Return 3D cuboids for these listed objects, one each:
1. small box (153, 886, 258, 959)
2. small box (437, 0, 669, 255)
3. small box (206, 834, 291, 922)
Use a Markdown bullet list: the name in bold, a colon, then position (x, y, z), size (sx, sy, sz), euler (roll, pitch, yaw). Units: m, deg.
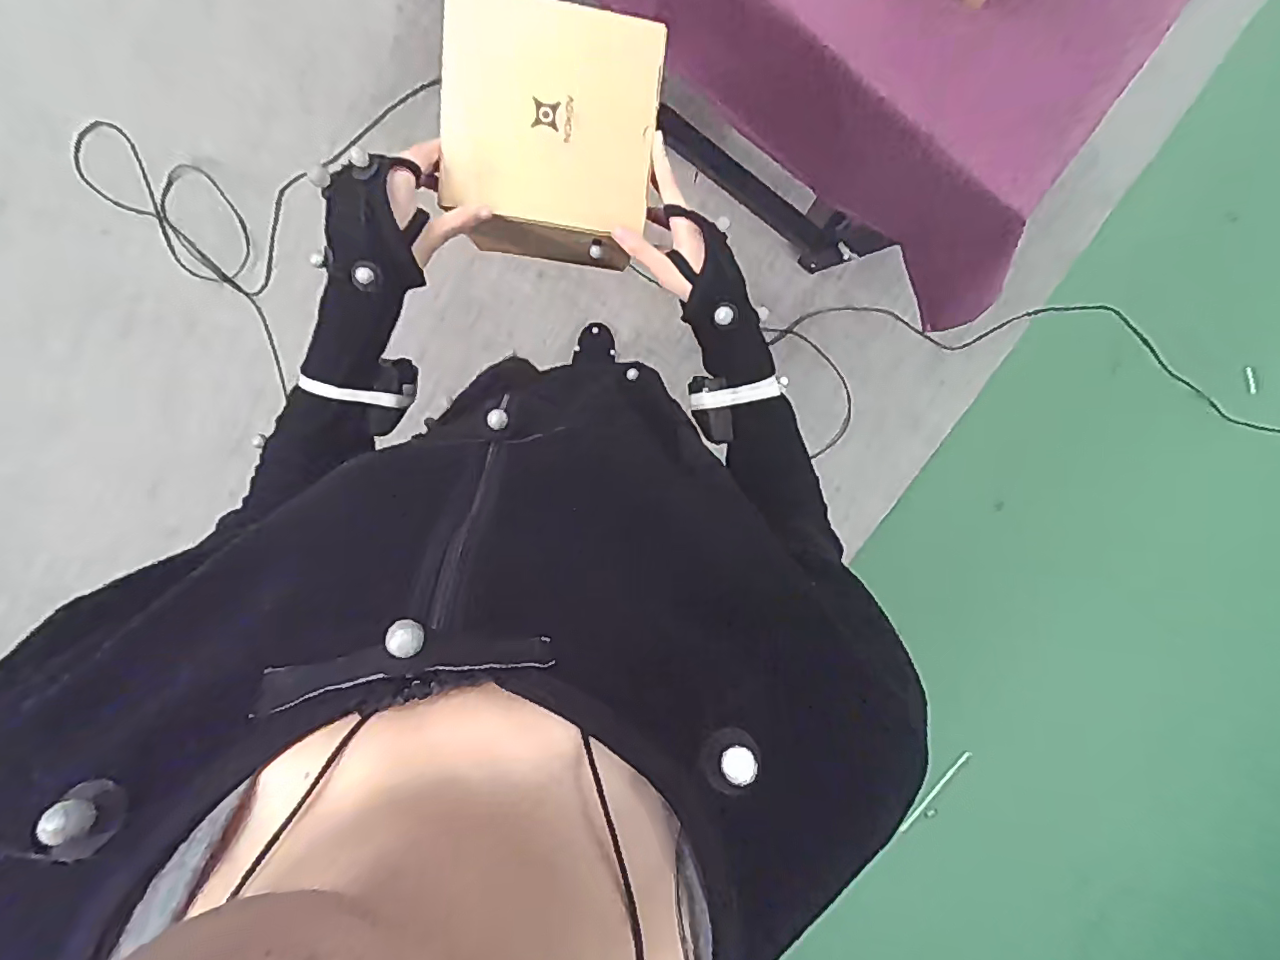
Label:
- **small box**: position (-1.156, 1.228, 1.422), size (0.168, 0.176, 0.179), euler (34, 99, -11)
- **small box**: position (-0.082, -0.326, 0.517), size (0.179, 0.176, 0.168), euler (5, 101, -10)
- **small box**: position (-1.169, 1.195, 1.581), size (0.168, 0.176, 0.179), euler (34, 98, -13)
